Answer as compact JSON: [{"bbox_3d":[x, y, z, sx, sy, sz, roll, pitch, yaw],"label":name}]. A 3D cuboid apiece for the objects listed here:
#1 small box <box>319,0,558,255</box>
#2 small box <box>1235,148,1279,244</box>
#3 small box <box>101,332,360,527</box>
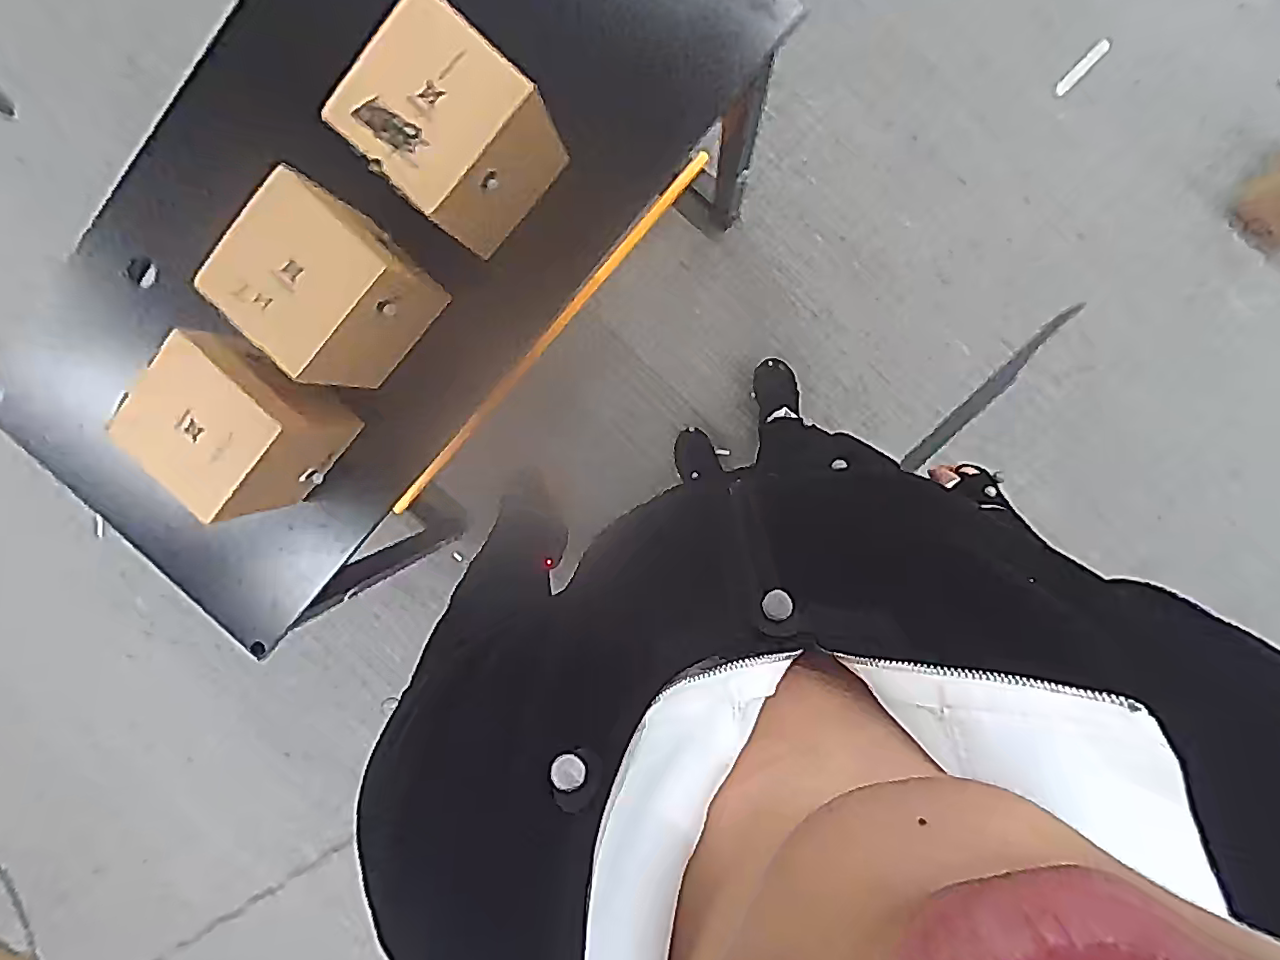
[{"bbox_3d":[-0.223,-0.406,0.648,0.168,0.176,0.179,43,98,-1],"label":"small box"},{"bbox_3d":[1.504,-0.661,1.199,0.168,0.176,0.179,40,99,-1],"label":"small box"},{"bbox_3d":[-0.525,-0.066,0.718,0.179,0.176,0.168,42,100,-1],"label":"small box"}]
